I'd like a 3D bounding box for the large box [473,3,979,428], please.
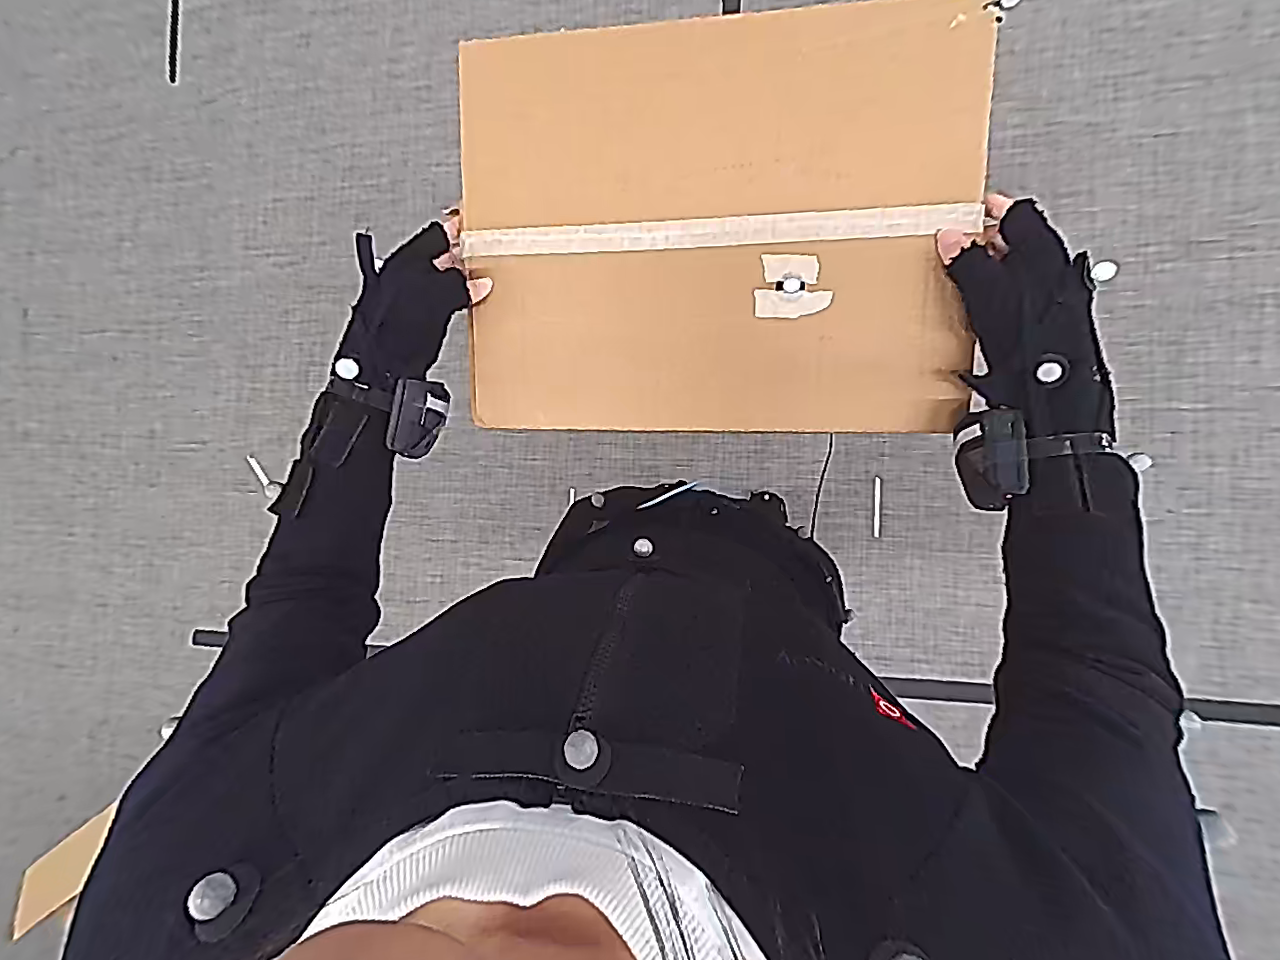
[{"bbox_3d":[0.076,-0.218,0.589,0.408,0.320,0.320,1,98,8],"label":"large box"}]
